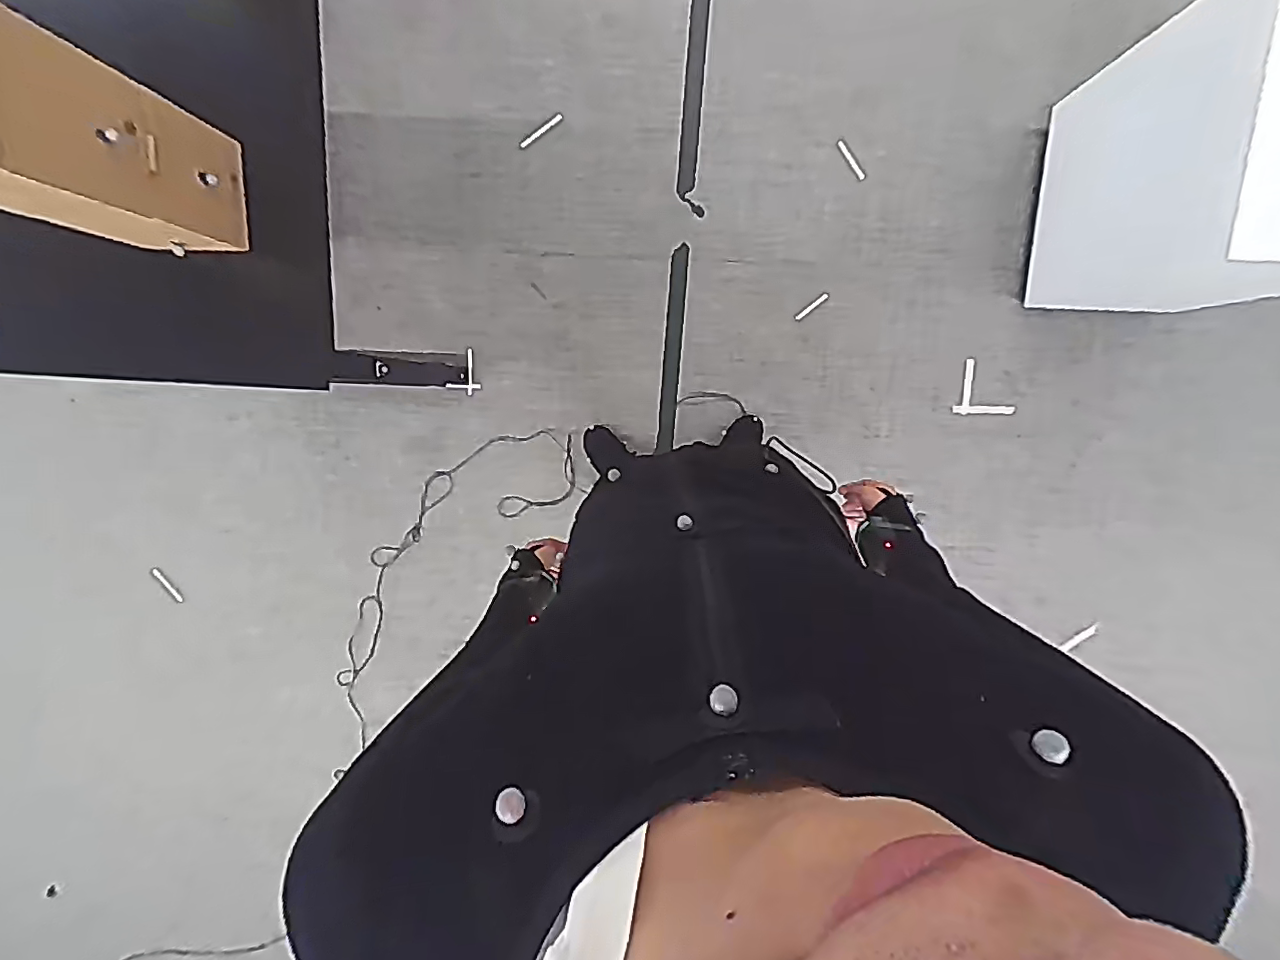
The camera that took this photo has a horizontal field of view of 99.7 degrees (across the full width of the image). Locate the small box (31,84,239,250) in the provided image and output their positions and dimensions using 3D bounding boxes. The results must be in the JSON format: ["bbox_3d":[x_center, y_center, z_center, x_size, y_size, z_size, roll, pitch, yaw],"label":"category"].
[{"bbox_3d":[-0.721,-0.441,0.784,0.179,0.176,0.168,2,99,2],"label":"small box"}]

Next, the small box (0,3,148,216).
[{"bbox_3d":[-0.731,-0.415,0.621,0.179,0.176,0.168,2,100,2],"label":"small box"}]
